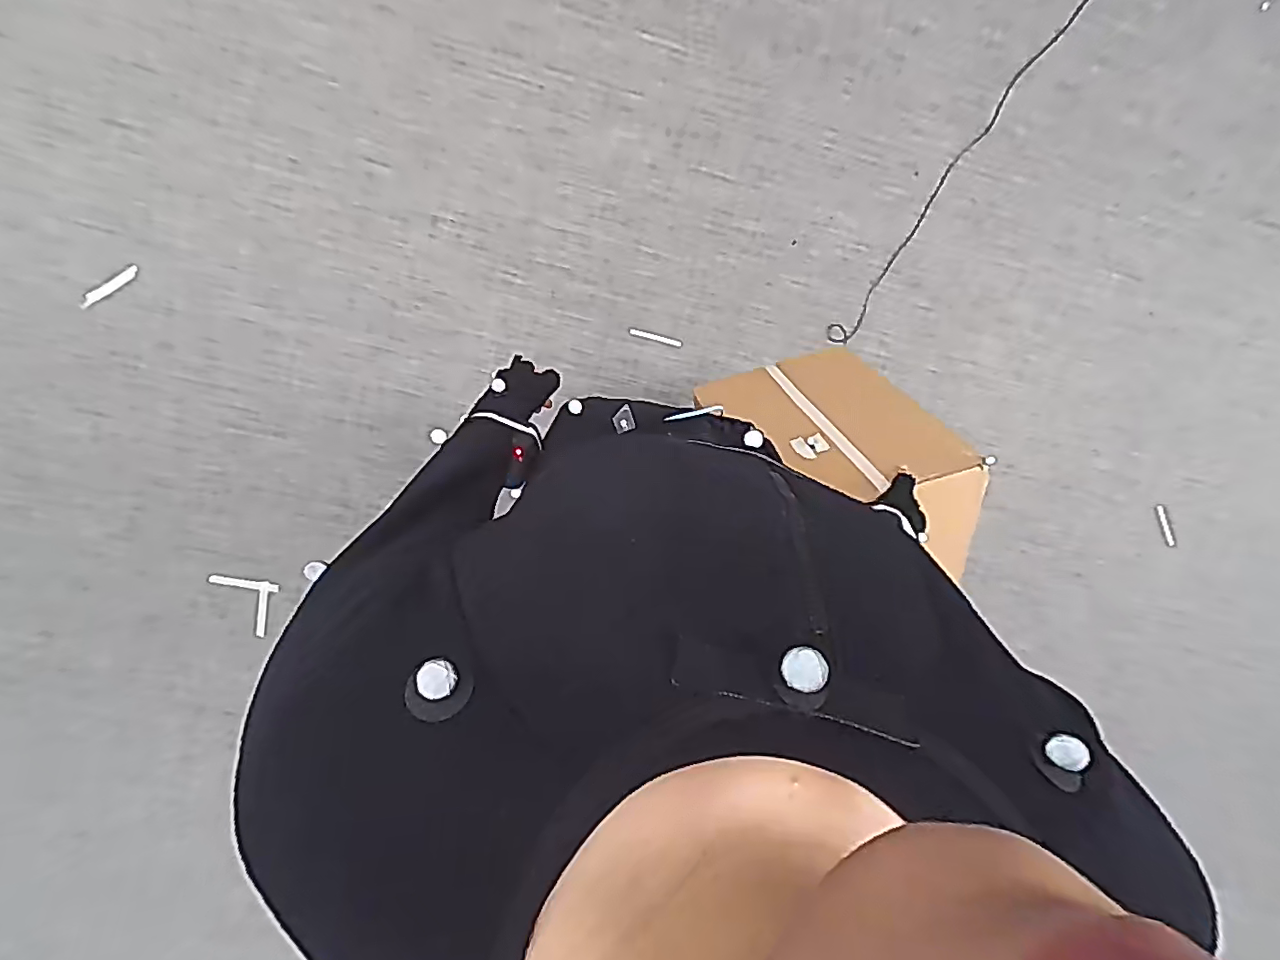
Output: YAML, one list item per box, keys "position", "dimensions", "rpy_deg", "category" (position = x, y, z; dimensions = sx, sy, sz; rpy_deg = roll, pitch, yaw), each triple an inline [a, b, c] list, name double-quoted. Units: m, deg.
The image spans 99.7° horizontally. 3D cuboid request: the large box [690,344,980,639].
- position: [0.313, 0.006, 0.994]
  dimensions: [0.320, 0.408, 0.320]
  rpy_deg: [-18, 131, -3]
  category: "large box"
